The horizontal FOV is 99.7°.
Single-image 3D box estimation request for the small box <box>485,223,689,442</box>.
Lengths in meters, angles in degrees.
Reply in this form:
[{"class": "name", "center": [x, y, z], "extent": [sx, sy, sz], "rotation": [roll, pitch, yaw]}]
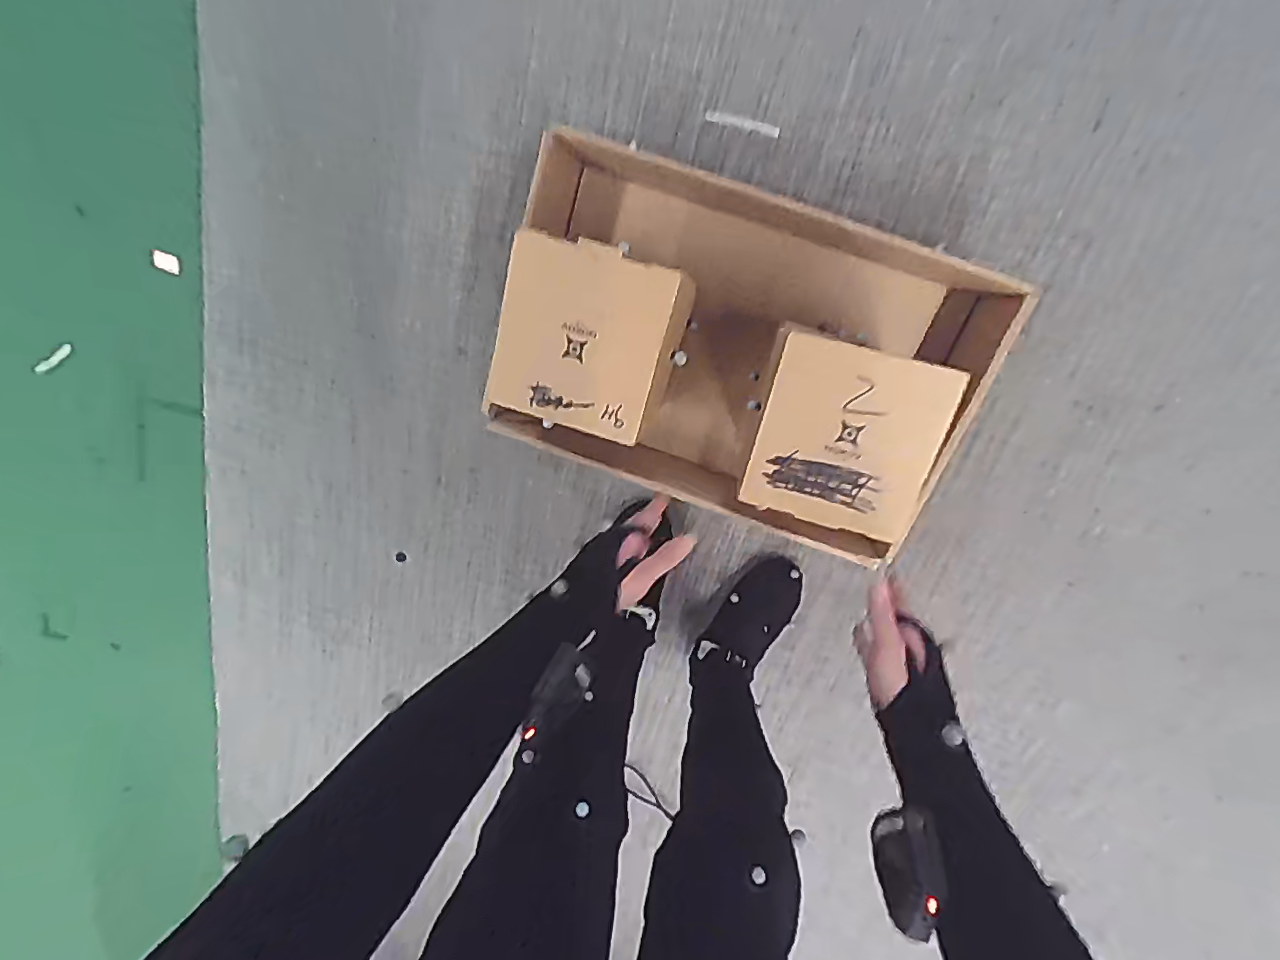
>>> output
[{"class": "small box", "center": [-0.048, -0.162, 0.609], "extent": [0.168, 0.176, 0.179], "rotation": [18, 108, 6]}]
